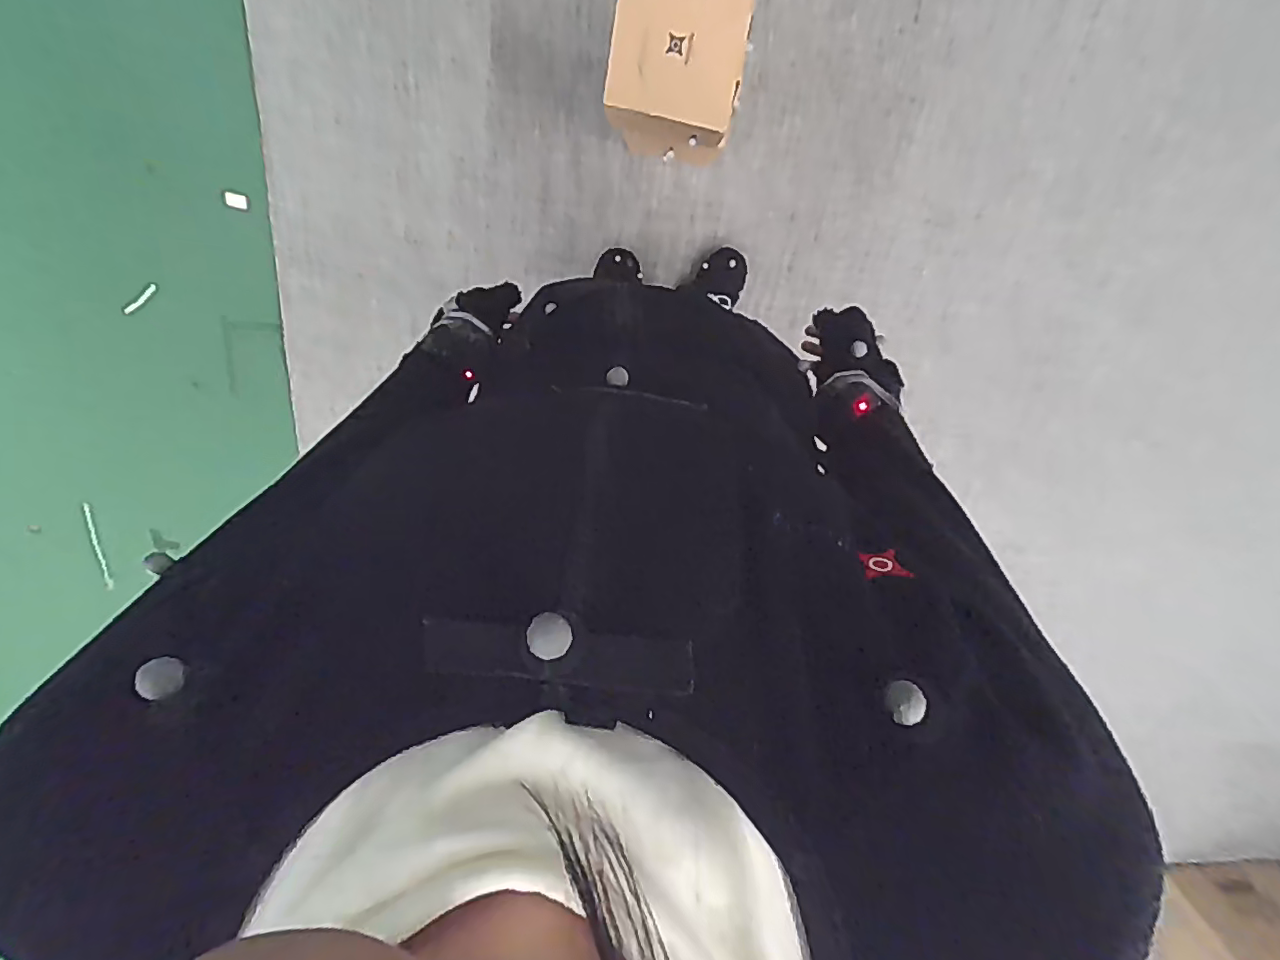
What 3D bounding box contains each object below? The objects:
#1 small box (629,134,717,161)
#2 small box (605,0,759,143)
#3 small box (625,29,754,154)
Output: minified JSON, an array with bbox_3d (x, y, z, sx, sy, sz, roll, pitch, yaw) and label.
[{"bbox_3d":[0.082,-0.743,1.062,0.179,0.176,0.168,13,114,-4],"label":"small box"},{"bbox_3d":[0.056,-0.598,0.773,0.179,0.176,0.168,11,115,-1],"label":"small box"},{"bbox_3d":[0.075,-0.669,0.919,0.179,0.176,0.168,11,116,-3],"label":"small box"}]
